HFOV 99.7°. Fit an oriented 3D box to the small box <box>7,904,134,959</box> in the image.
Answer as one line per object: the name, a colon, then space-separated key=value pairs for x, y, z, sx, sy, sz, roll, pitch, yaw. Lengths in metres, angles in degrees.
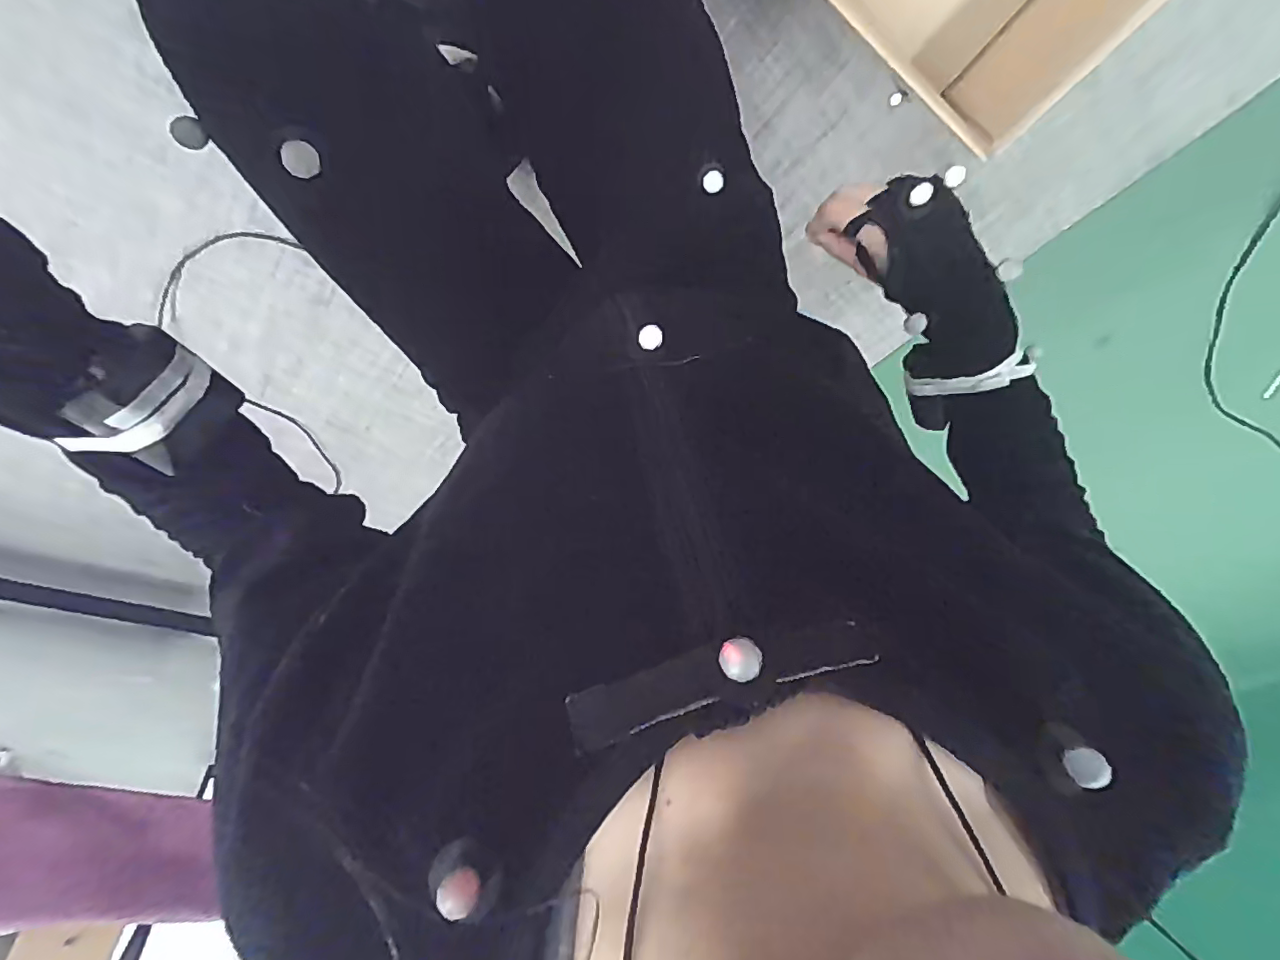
small box: x=-1.281 y=1.056 z=1.201 sx=0.179 sy=0.176 sz=0.168 roll=23 pitch=136 yaw=-30
